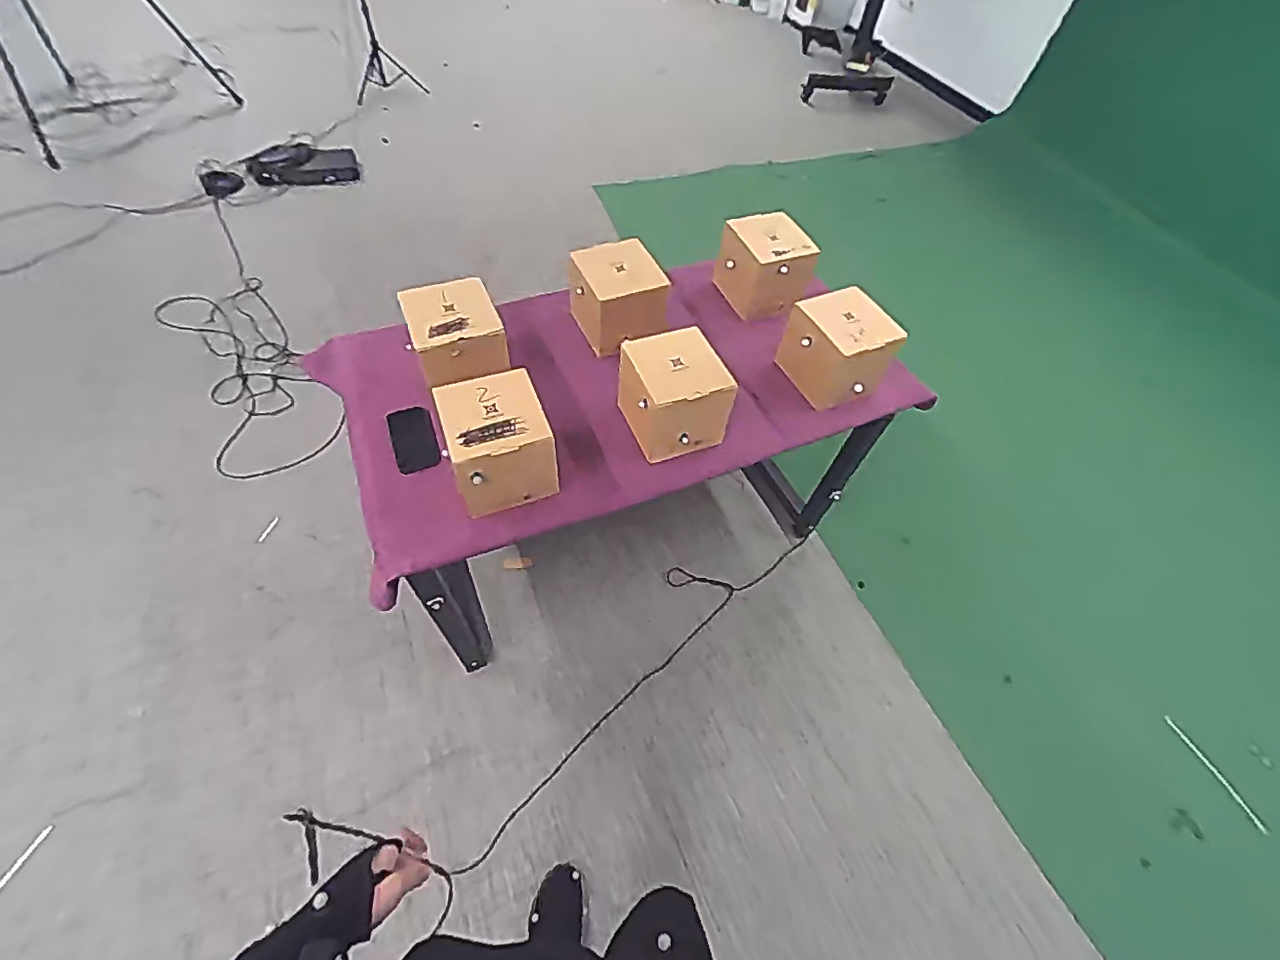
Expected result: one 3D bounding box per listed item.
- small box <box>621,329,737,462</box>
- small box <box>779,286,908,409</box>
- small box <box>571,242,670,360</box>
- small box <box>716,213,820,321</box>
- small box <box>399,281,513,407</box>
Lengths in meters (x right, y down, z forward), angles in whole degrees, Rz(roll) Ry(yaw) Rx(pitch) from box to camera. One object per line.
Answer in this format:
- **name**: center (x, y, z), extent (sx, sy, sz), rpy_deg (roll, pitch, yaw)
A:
- **small box**: center (0.066, -0.165, 1.070), extent (0.168, 0.176, 0.179), rpy_deg (-17, 58, -16)
- **small box**: center (0.429, -0.286, 1.175), extent (0.168, 0.176, 0.179), rpy_deg (-20, 60, -16)
- **small box**: center (-0.050, -0.403, 1.223), extent (0.168, 0.176, 0.179), rpy_deg (-20, 60, -16)
- **small box**: center (0.304, -0.523, 1.331), extent (0.168, 0.176, 0.179), rpy_deg (-18, 59, -15)
- **small box**: center (-0.369, -0.270, 1.105), extent (0.168, 0.176, 0.179), rpy_deg (-19, 59, -17)
